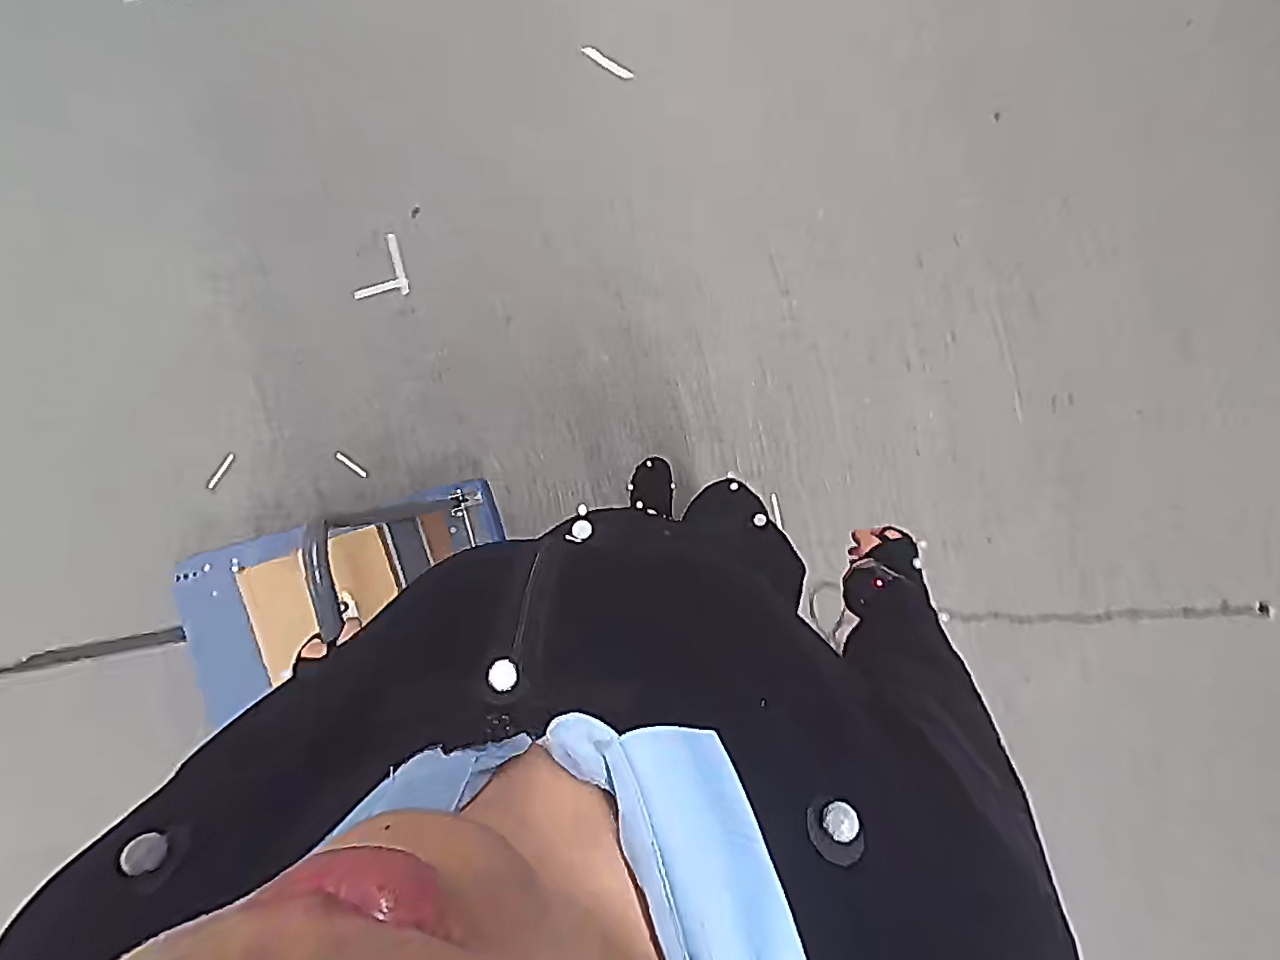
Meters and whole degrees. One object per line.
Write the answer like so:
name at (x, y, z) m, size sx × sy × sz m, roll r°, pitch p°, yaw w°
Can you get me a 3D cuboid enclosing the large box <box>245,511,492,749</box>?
large box at (-0.585, 0.312, 1.231) m, size 0.320 × 0.320 × 0.408 m, roll -18°, pitch 90°, yaw 3°
